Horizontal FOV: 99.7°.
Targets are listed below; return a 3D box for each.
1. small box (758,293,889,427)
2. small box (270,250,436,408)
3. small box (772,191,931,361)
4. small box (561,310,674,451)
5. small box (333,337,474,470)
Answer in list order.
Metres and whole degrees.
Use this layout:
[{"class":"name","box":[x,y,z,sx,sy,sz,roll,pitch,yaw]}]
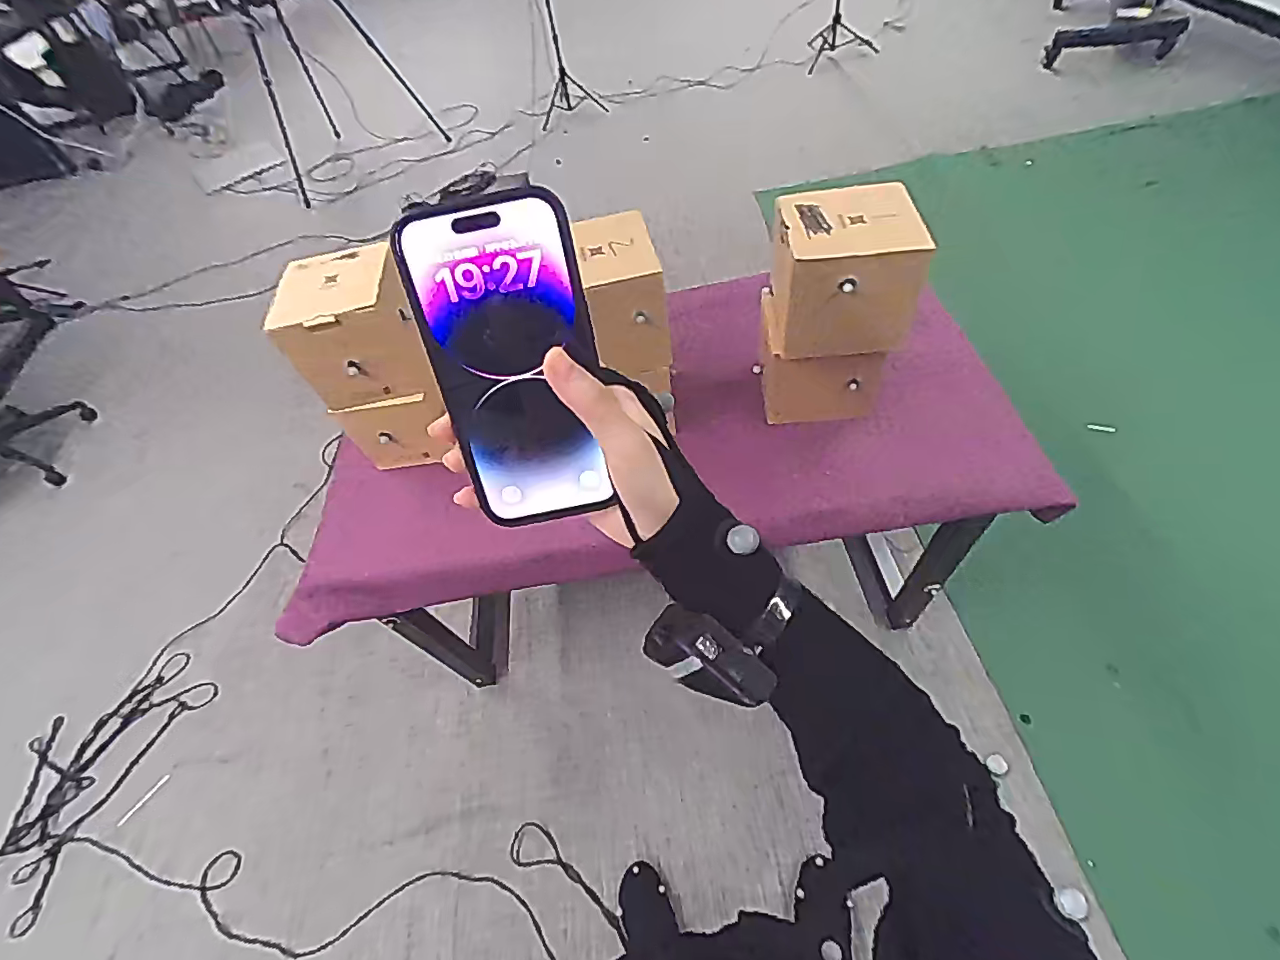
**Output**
[{"class":"small box","box":[0.303,-0.207,0.932,0.179,0.176,0.168,-3,54,8]},{"class":"small box","box":[-0.445,-0.234,0.871,0.168,0.176,0.179,-11,54,0]},{"class":"small box","box":[0.290,-0.291,0.791,0.179,0.176,0.168,-3,54,7]},{"class":"small box","box":[-0.035,-0.171,0.960,0.179,0.176,0.168,-8,54,4]},{"class":"small box","box":[-0.422,-0.132,0.999,0.168,0.176,0.179,-8,54,4]}]
